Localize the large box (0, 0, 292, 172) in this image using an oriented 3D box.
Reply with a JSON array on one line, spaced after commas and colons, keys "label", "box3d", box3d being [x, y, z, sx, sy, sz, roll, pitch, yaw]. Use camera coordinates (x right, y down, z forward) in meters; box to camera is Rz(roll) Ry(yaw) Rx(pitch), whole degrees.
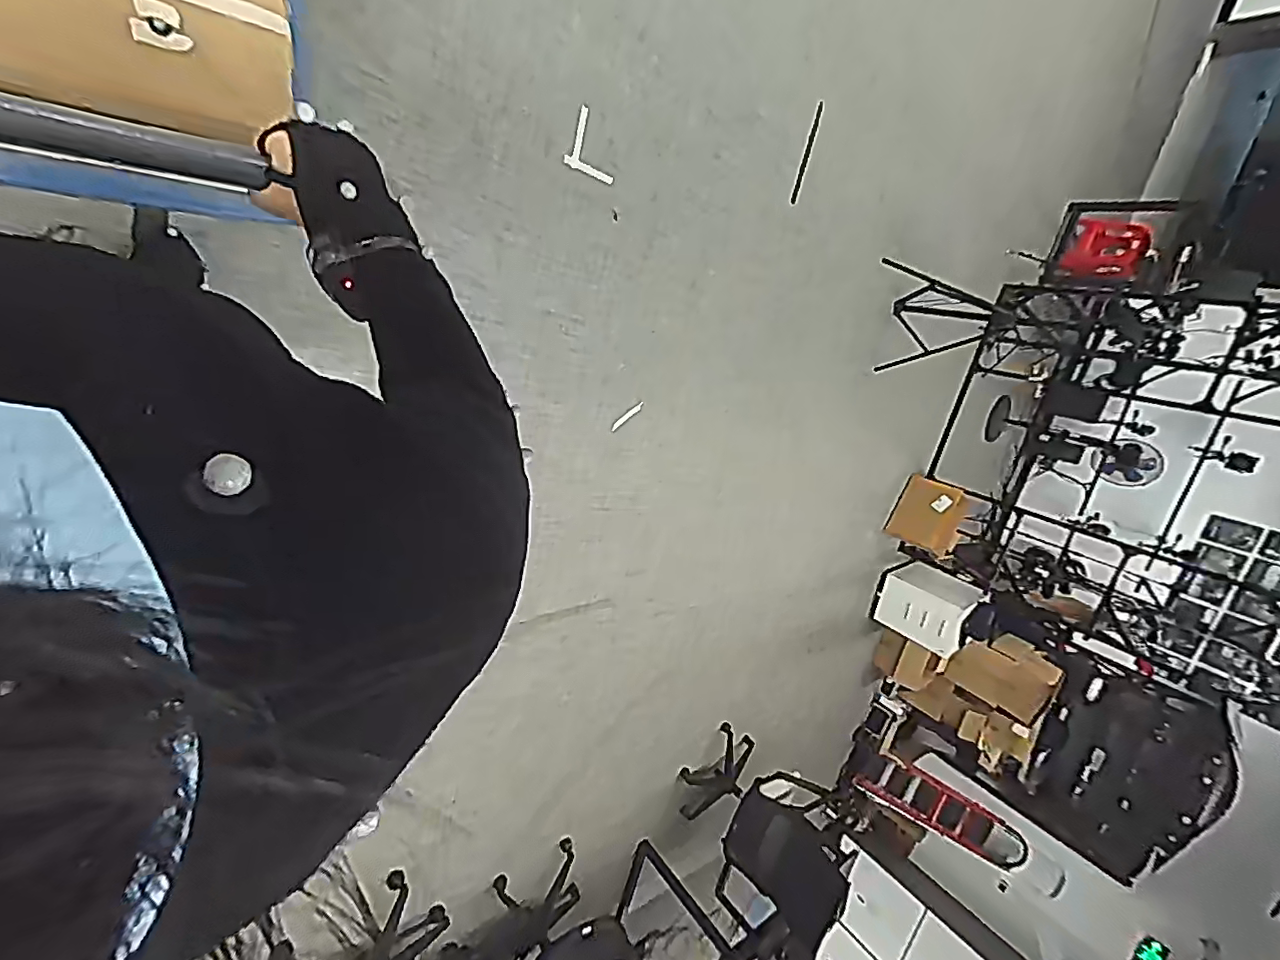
[{"label": "large box", "box3d": [-0.729, -0.625, 0.703, 0.408, 0.320, 0.320, -9, 116, -40]}]
